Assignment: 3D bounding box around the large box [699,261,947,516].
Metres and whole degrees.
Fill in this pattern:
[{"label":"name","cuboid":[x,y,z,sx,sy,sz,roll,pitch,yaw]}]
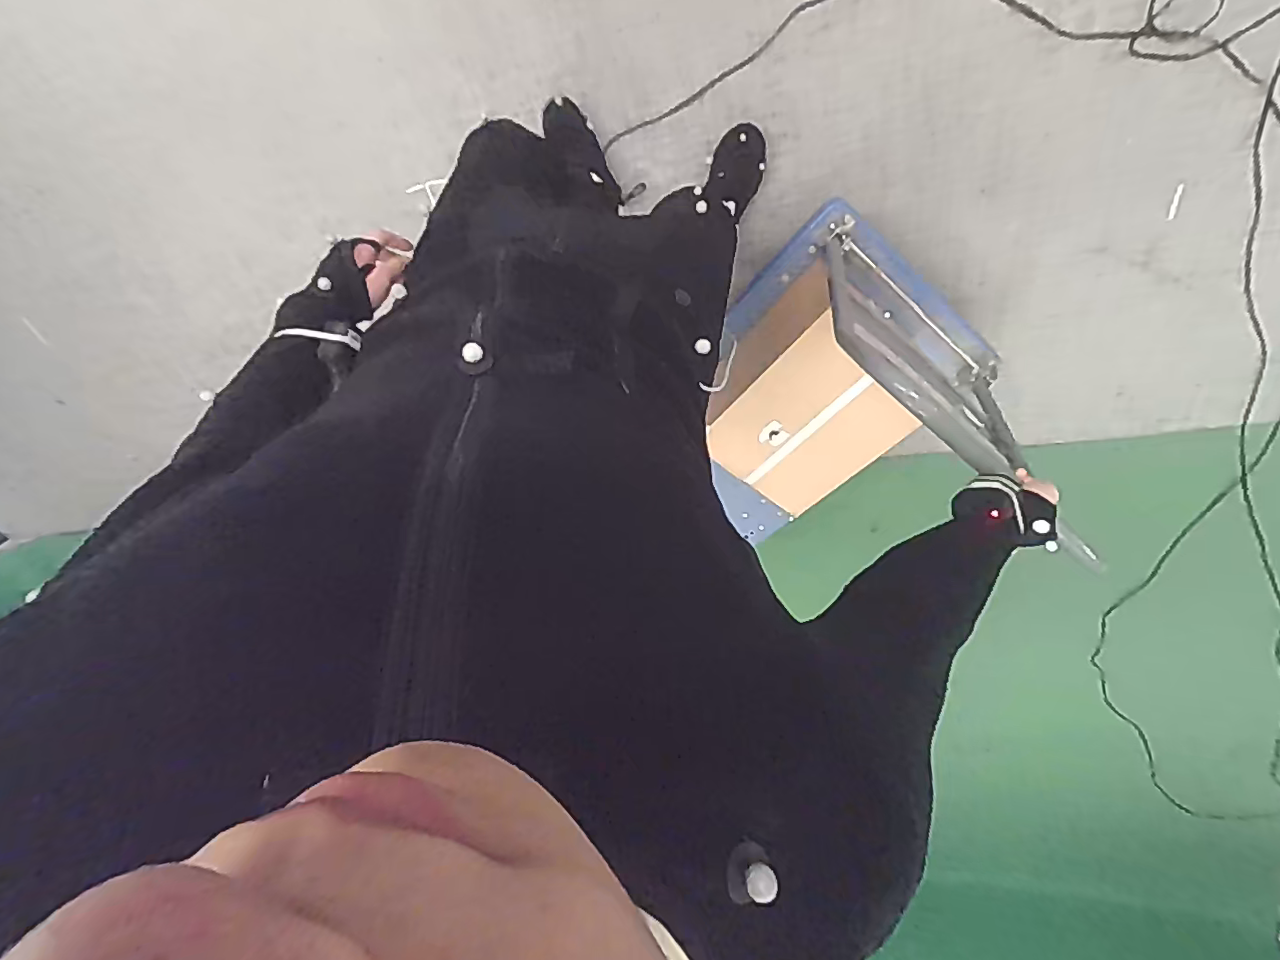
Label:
[{"label":"large box","cuboid":[0.384,-0.203,1.223,0.320,0.320,0.408,35,126,-13]}]
